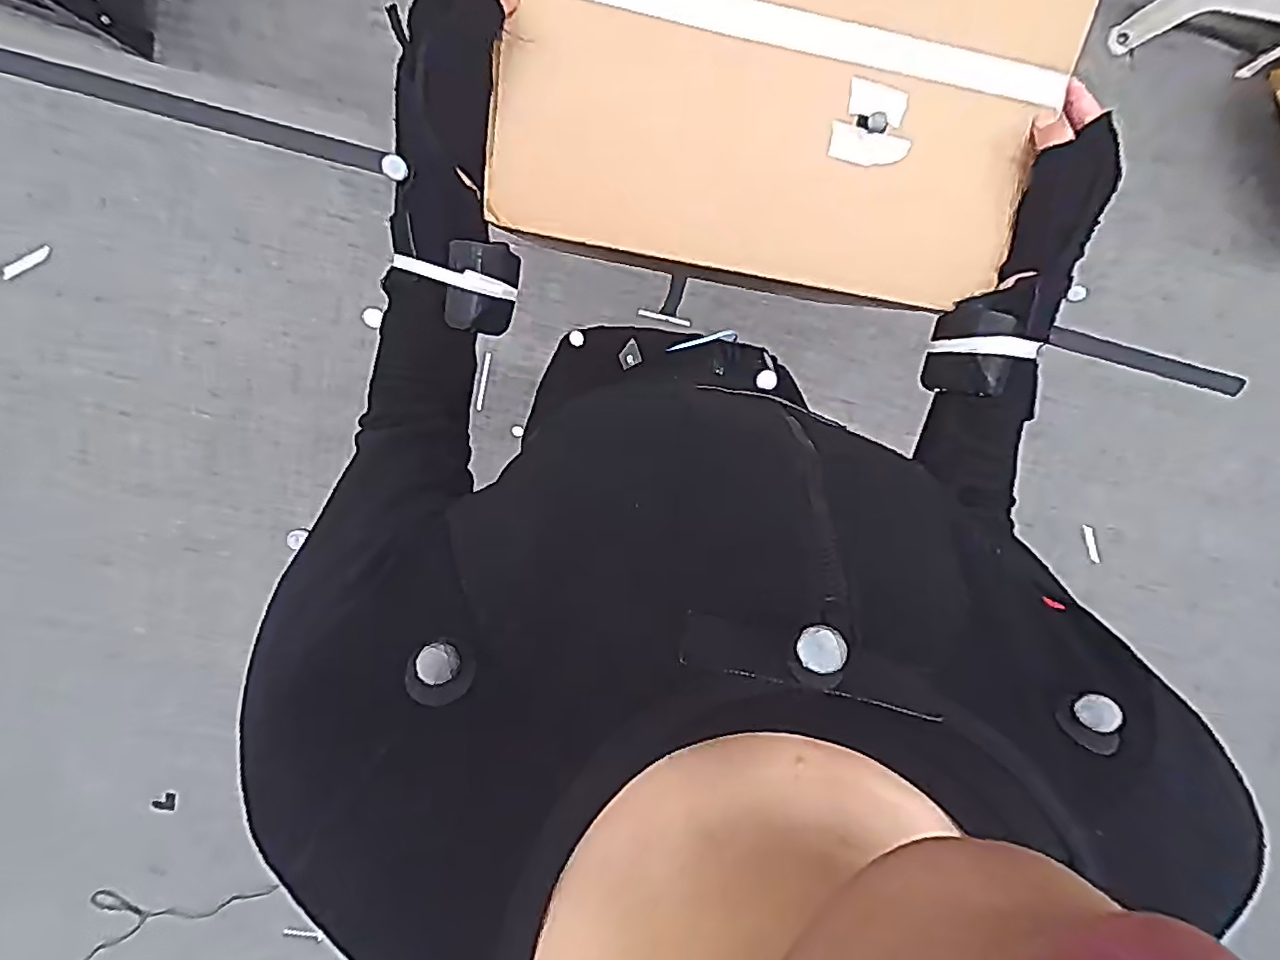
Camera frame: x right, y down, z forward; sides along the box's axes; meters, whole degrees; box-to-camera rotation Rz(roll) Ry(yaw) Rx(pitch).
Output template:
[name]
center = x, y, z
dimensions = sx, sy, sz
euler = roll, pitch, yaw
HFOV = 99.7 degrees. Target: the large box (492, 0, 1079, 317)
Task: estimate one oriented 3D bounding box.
[large box]
center = 0.093, -0.355, 0.522
dimensions = 0.408, 0.320, 0.320
euler = 8, 111, -8
